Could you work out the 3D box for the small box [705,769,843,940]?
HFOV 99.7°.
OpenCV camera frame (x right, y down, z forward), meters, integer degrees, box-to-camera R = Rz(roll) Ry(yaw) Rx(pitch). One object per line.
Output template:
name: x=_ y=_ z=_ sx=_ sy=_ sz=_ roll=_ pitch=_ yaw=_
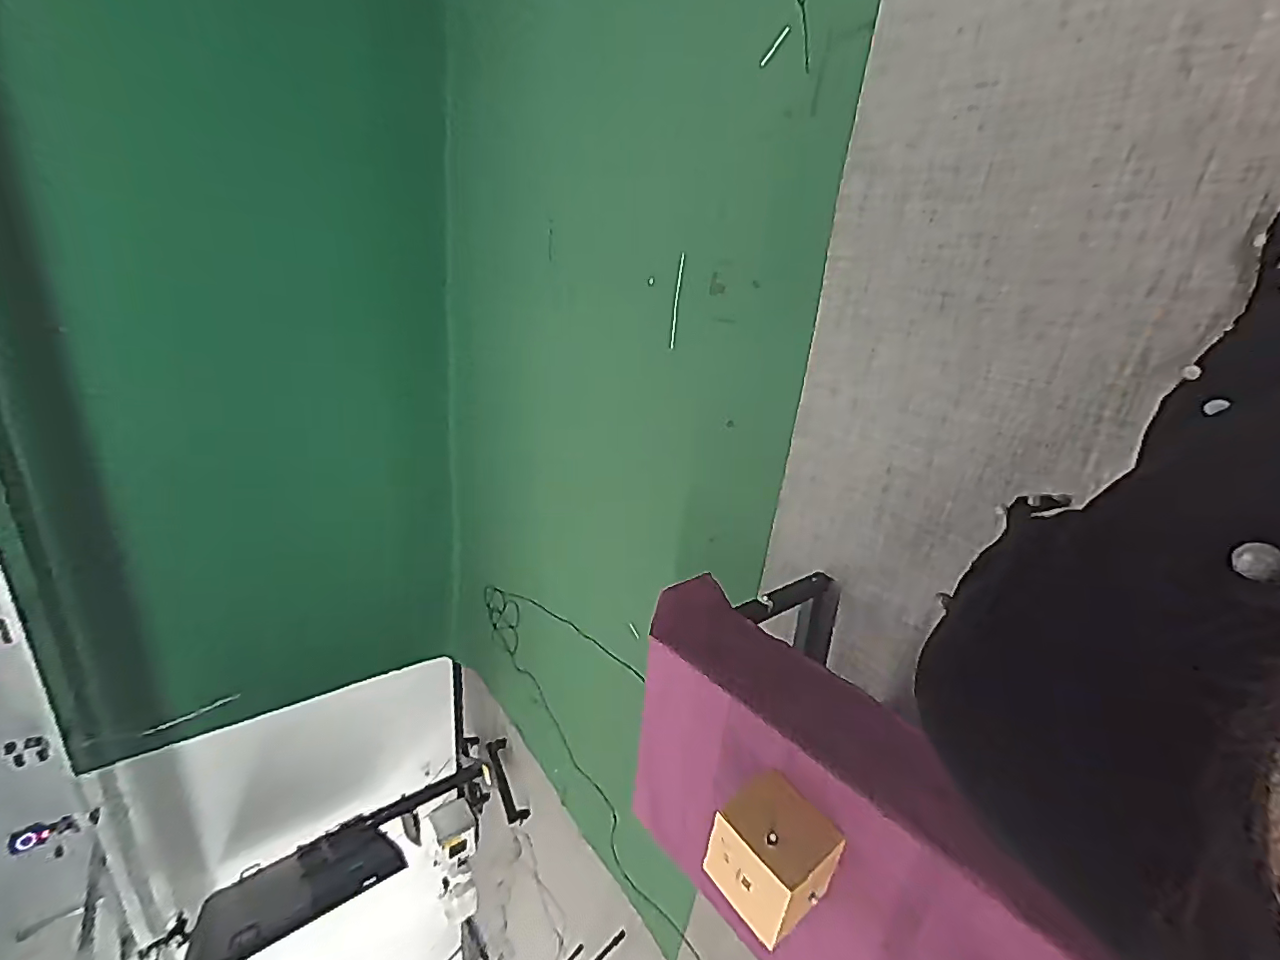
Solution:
small box: x=0.255 y=0.700 z=1.034 sx=0.179 sy=0.176 sz=0.168 roll=32 pitch=122 yaw=45
